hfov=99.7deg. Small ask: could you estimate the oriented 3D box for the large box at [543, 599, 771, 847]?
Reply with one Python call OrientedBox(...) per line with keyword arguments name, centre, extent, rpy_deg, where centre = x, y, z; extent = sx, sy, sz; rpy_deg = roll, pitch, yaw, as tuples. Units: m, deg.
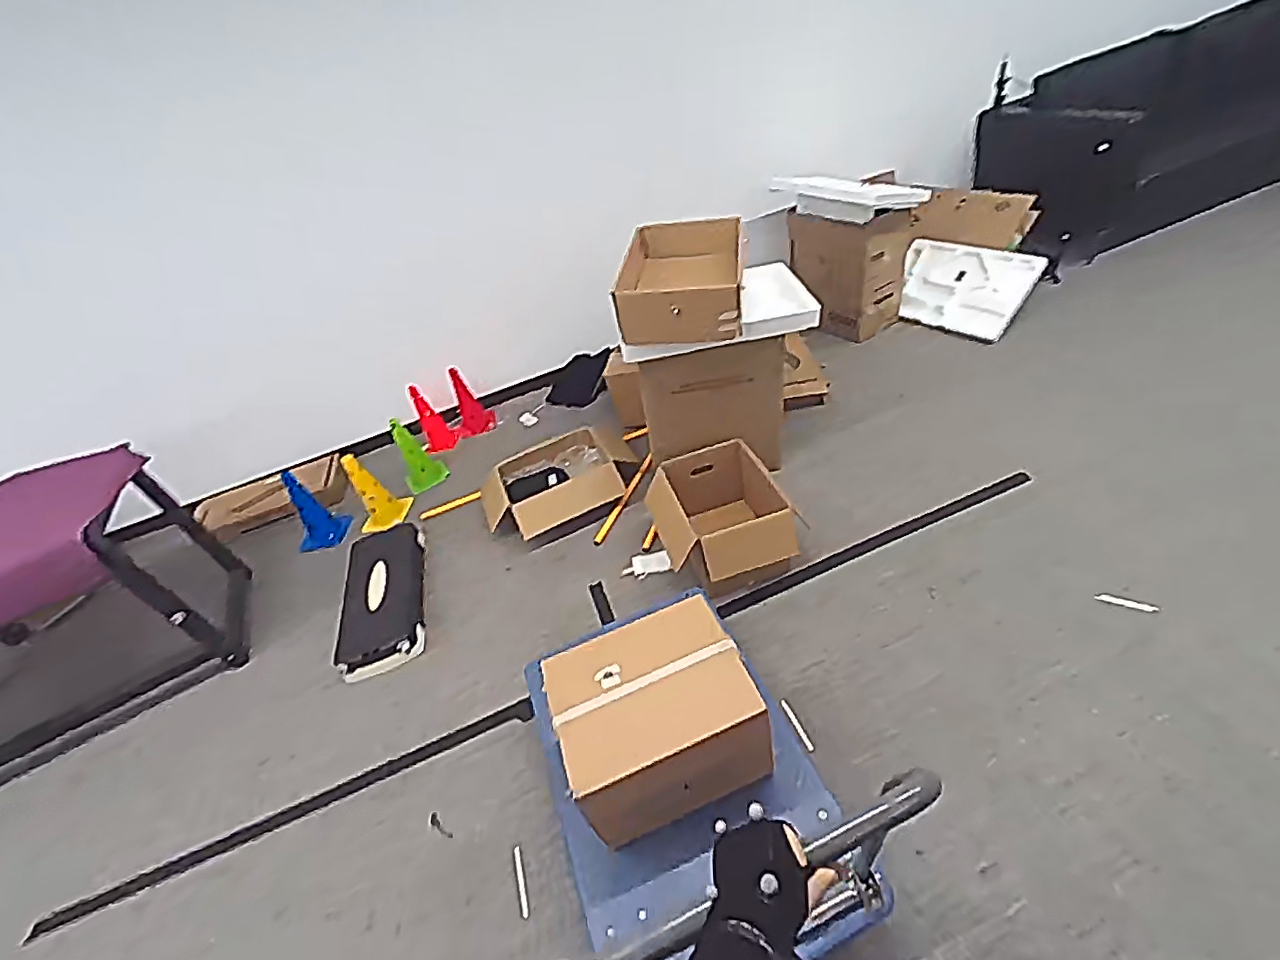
OrientedBox(name="large box", centre=(0.043, 0.550, 1.239), extent=(0.408, 0.320, 0.320), rpy_deg=(-23, 39, -8))
